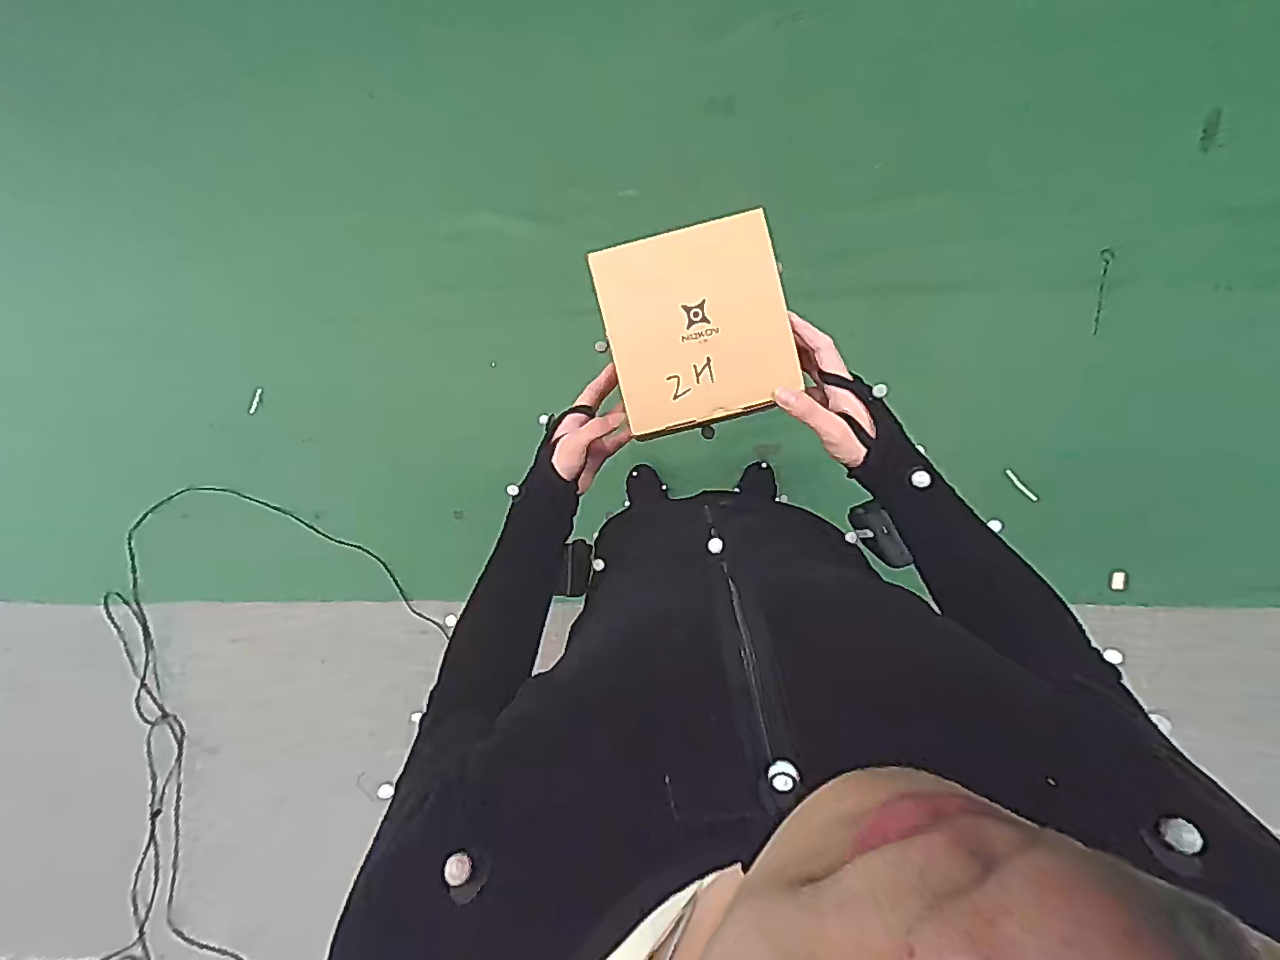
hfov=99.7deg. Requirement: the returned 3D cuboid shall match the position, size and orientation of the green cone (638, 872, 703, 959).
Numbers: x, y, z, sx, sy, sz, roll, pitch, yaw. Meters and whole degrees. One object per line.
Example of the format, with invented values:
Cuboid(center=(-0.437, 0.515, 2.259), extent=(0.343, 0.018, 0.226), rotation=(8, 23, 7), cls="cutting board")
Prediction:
Cuboid(center=(0.072, 1.327, 1.509), extent=(0.202, 0.368, 0.200), rotation=(0, 92, 8), cls="green cone")
